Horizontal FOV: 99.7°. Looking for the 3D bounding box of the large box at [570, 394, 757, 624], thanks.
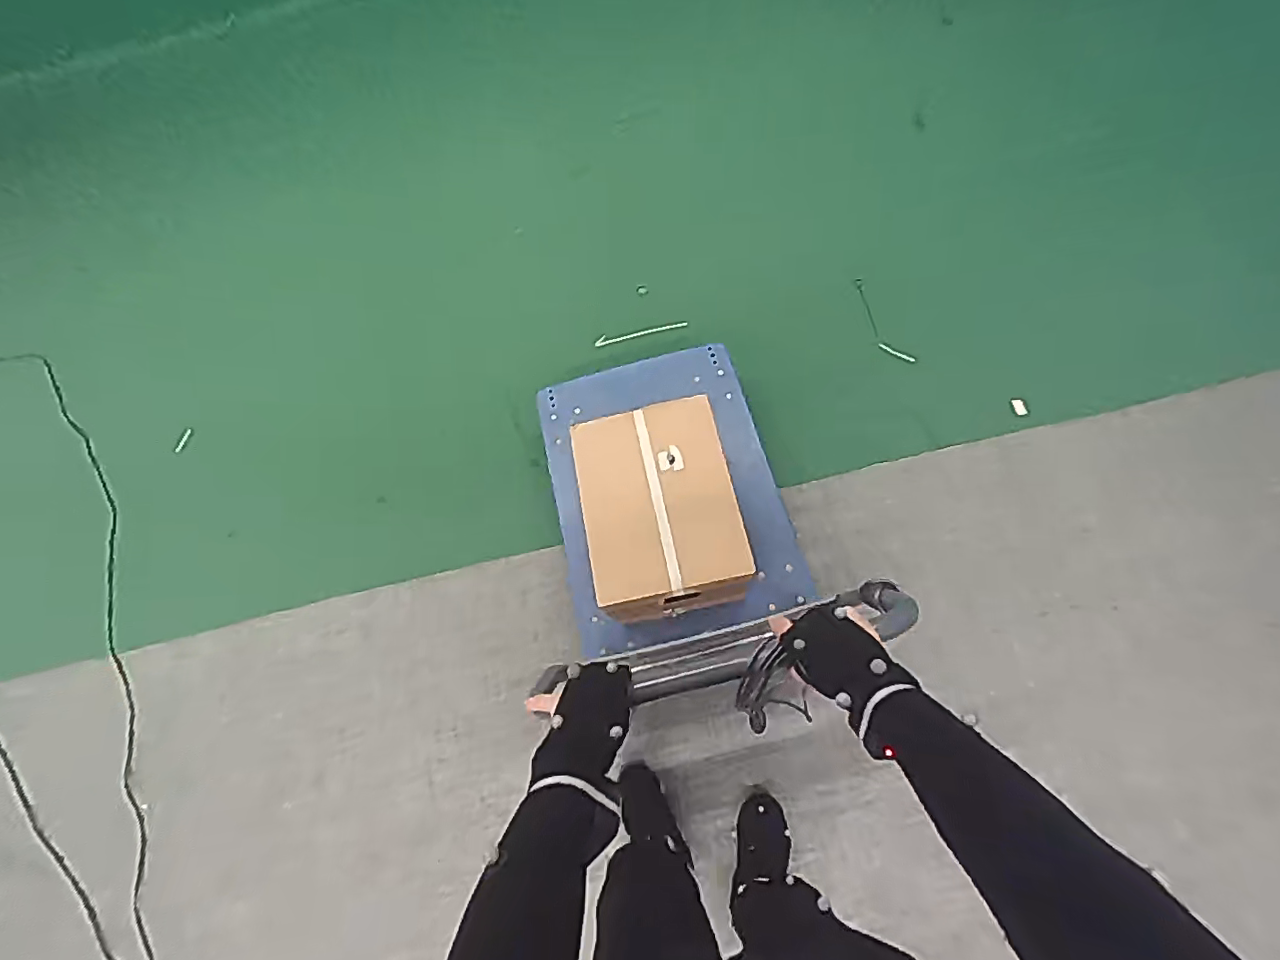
[{"bbox_3d":[0.054,0.081,1.233,0.320,0.320,0.408,-12,67,2],"label":"large box"}]
